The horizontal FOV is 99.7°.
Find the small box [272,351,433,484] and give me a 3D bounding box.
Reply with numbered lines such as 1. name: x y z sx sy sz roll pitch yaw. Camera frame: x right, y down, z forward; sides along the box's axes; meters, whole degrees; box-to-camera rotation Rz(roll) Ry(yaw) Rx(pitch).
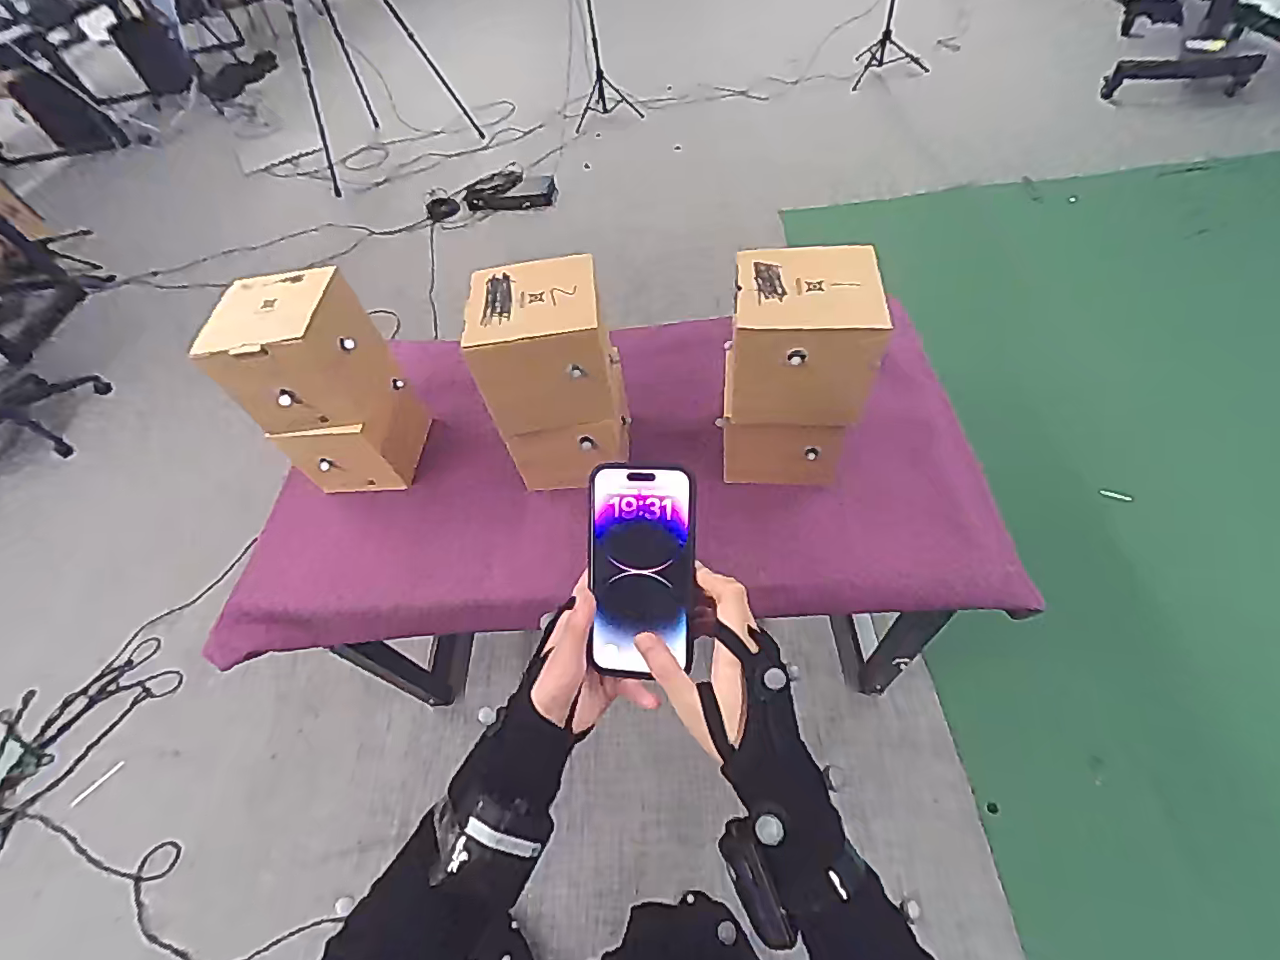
1. small box: -0.496 -0.102 0.964 0.168 0.176 0.179 -3 54 7

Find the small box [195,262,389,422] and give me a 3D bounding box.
1. small box: -0.517 -0.204 0.837 0.168 0.176 0.179 -7 55 3

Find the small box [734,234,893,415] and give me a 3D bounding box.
1. small box: 0.216 -0.201 0.719 0.179 0.176 0.168 2 55 10

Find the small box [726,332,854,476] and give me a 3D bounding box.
1. small box: 0.229 -0.118 0.861 0.179 0.176 0.168 1 55 11

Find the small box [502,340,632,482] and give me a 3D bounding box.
1. small box: -0.109 -0.110 0.907 0.179 0.176 0.168 -4 54 7
